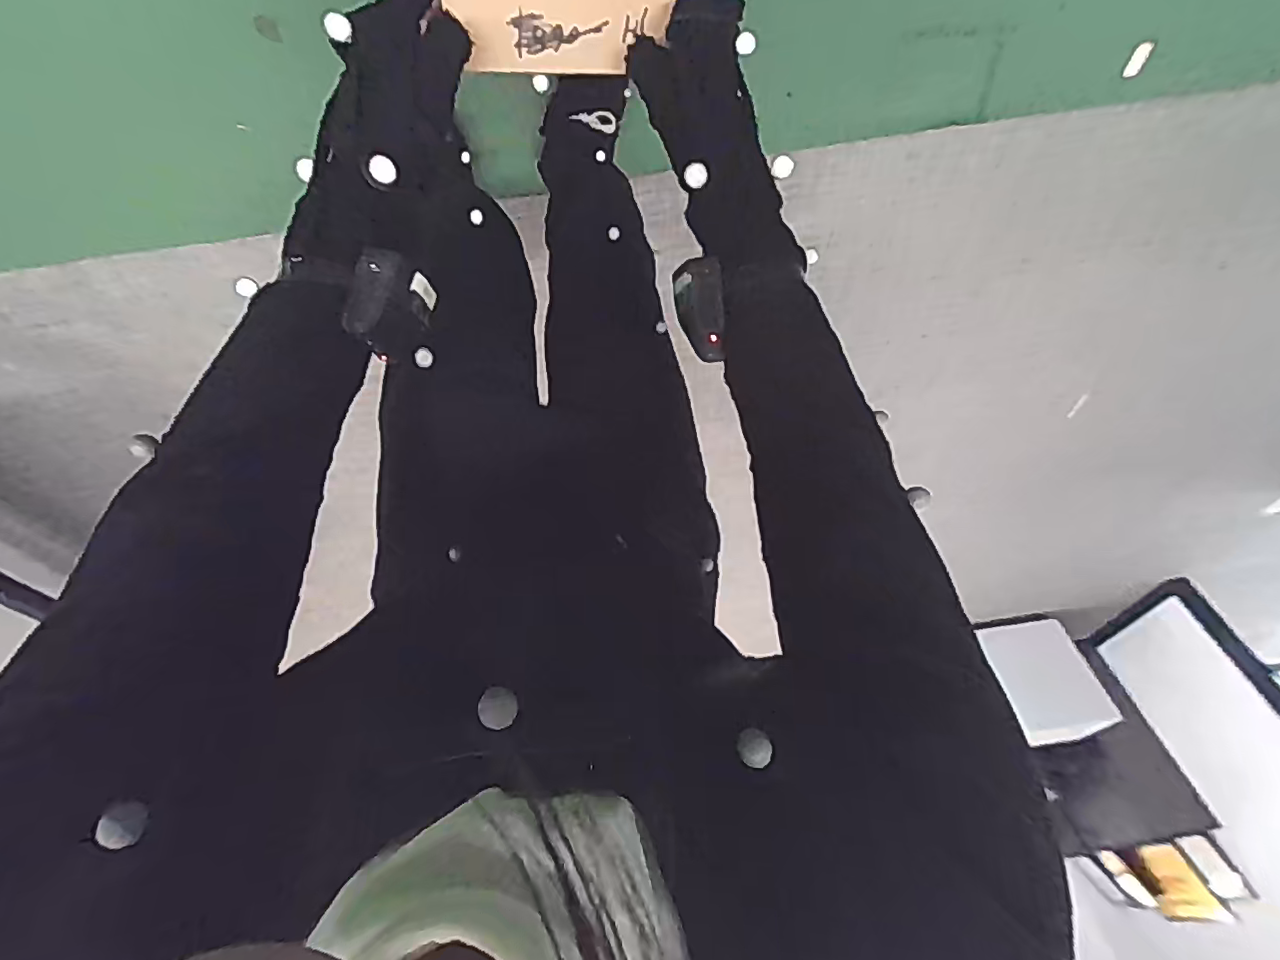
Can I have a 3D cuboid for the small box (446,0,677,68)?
[{"bbox_3d":[-0.069,-0.429,0.403,0.168,0.176,0.179,-7,134,-12],"label":"small box"}]
